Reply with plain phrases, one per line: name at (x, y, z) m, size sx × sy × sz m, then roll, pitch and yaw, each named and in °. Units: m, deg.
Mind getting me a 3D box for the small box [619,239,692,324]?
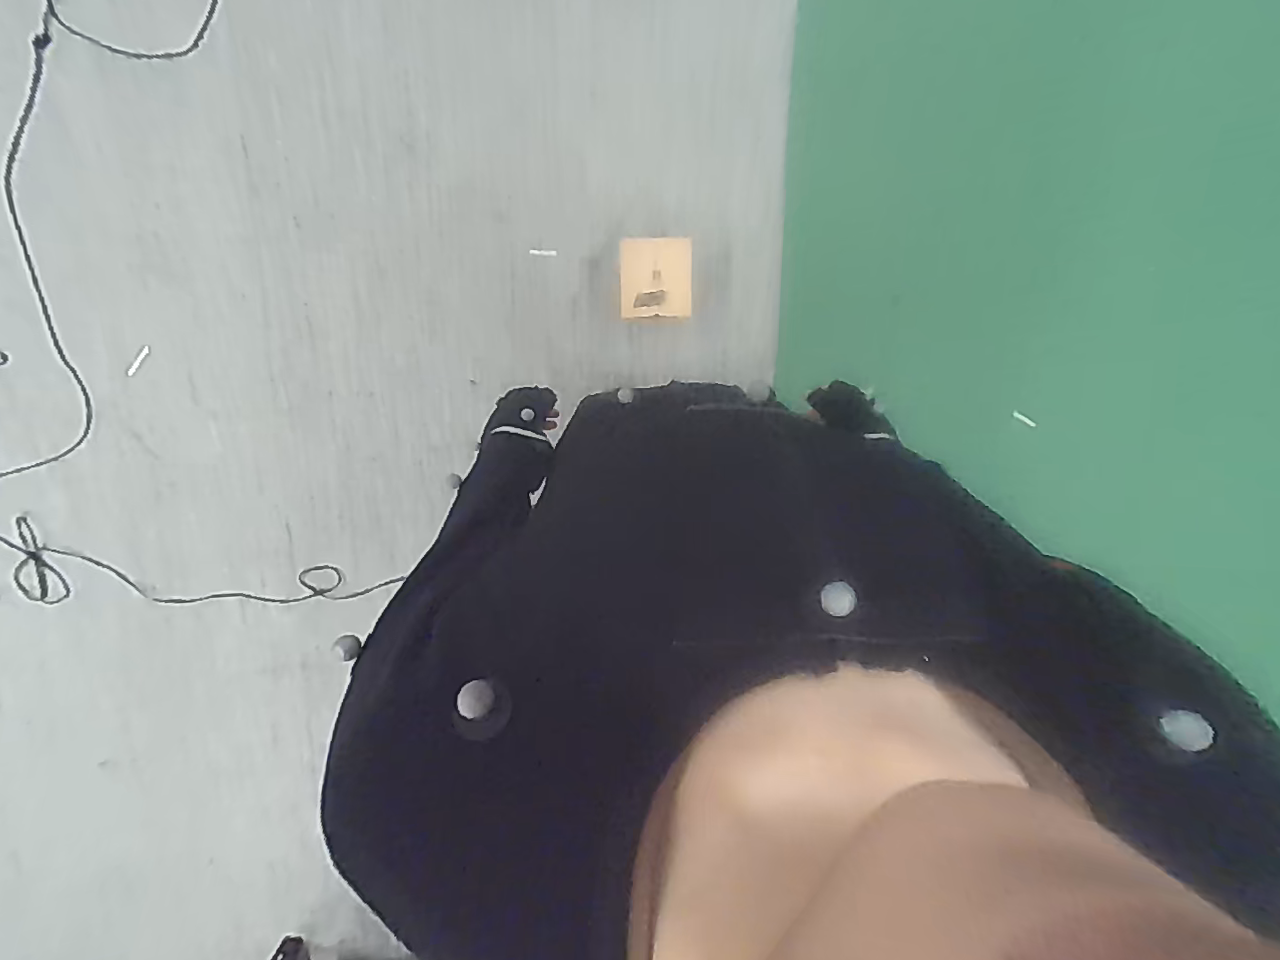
small box at (0.035, -0.473, 1.312) m, size 0.168 × 0.176 × 0.179 m, roll -1°, pitch 100°, yaw -1°
